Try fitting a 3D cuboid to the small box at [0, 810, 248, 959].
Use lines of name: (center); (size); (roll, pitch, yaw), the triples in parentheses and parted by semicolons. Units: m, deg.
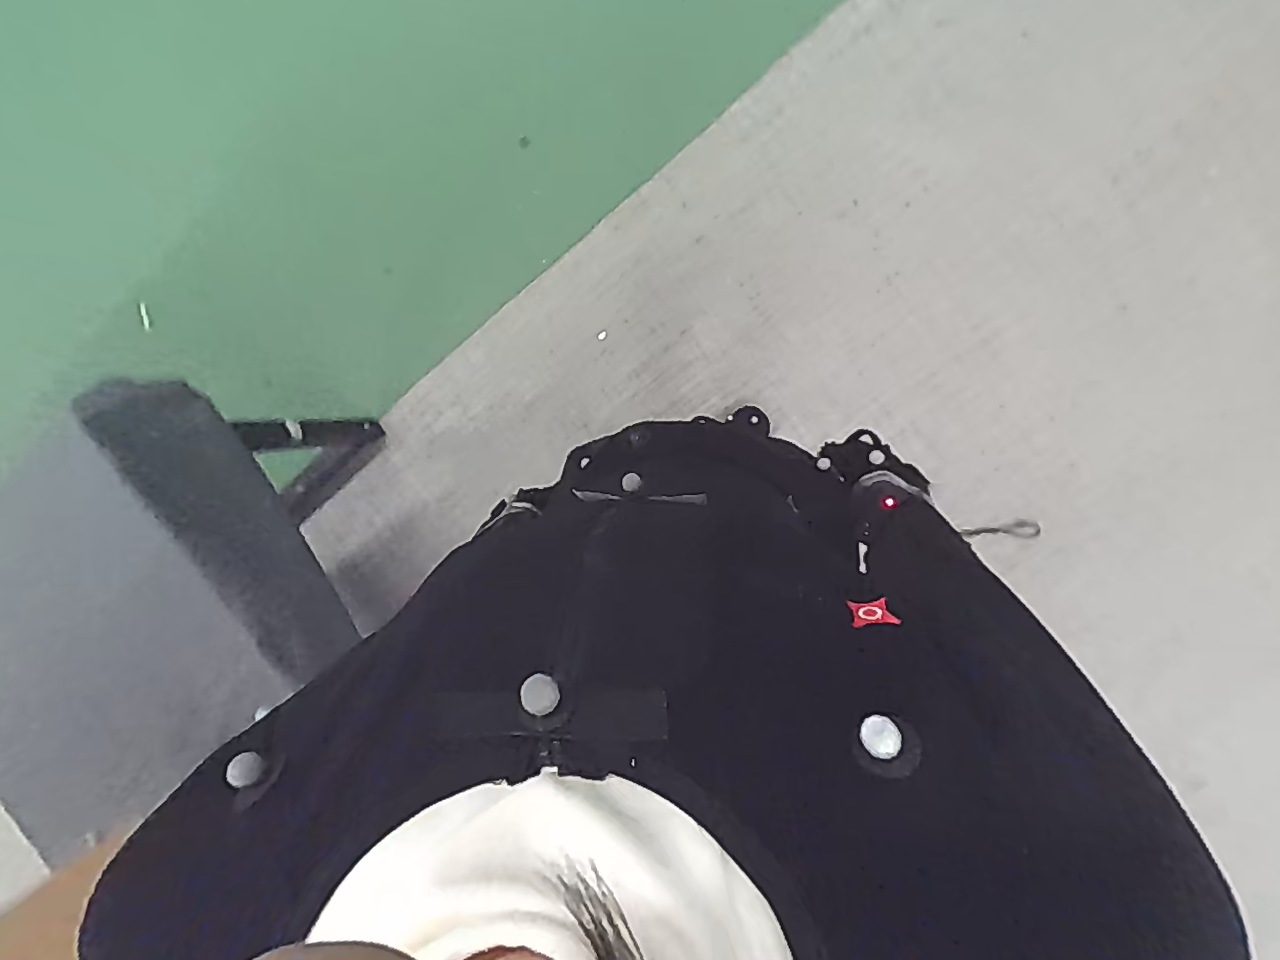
small box: (-0.621, 0.527, 0.628); (0.168, 0.176, 0.179); (-37, 90, 14)
